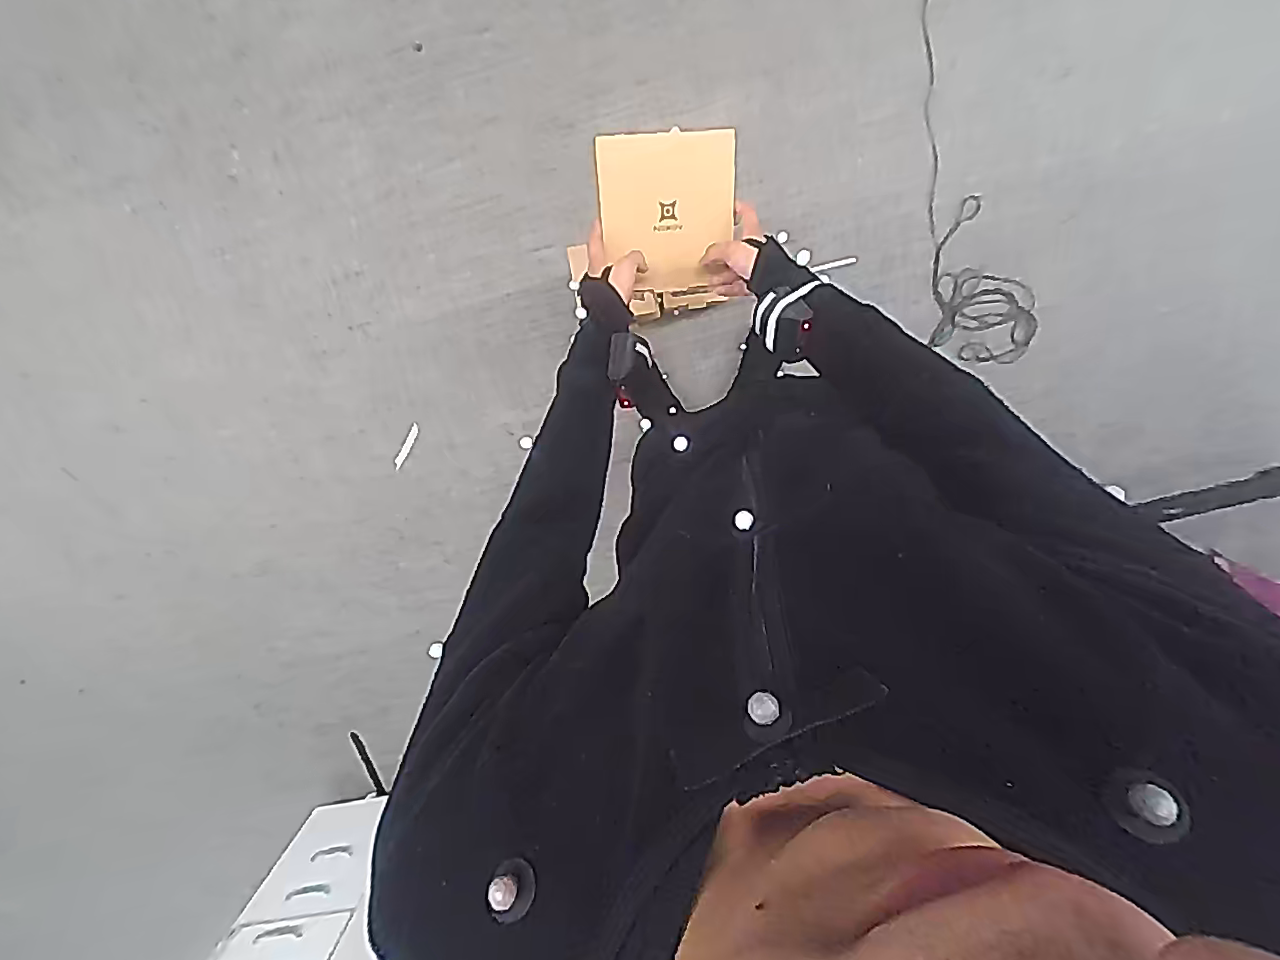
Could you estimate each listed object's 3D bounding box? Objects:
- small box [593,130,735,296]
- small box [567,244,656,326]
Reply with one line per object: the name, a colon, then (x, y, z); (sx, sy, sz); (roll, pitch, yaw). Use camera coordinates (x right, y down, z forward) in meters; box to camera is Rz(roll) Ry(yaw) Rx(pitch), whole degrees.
small box: (0.026, -0.352, 0.729); (0.168, 0.176, 0.179); (-5, 115, -3)
small box: (-0.059, -0.455, 1.261); (0.179, 0.176, 0.168); (-8, 104, 4)
